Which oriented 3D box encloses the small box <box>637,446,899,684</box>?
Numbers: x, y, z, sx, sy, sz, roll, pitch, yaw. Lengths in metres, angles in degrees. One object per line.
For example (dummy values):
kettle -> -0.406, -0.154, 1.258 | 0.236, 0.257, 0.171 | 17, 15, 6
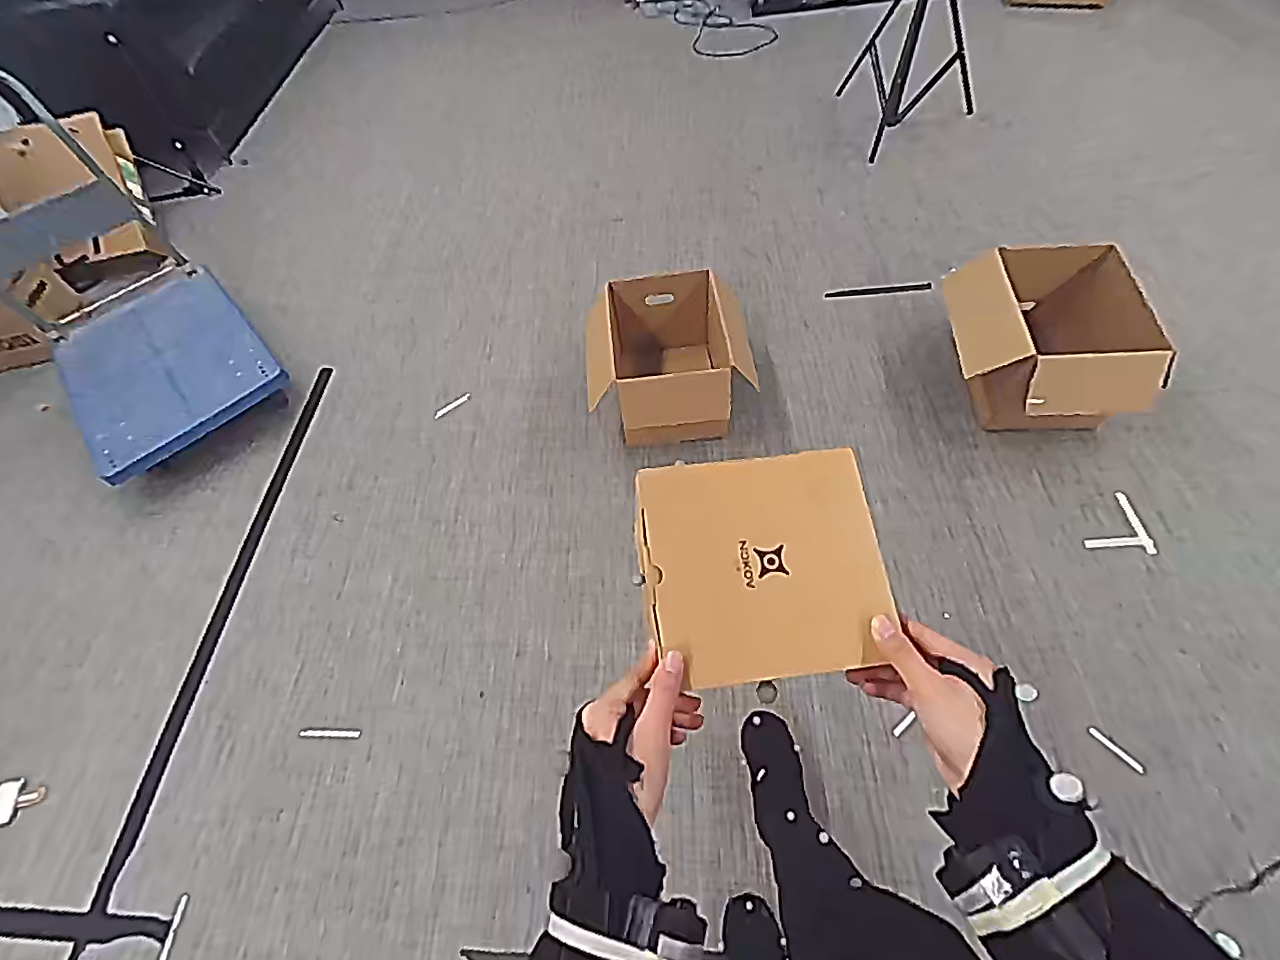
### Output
small box -> 0.091, 0.082, 0.481 | 0.179, 0.176, 0.168 | -7, 71, -2
